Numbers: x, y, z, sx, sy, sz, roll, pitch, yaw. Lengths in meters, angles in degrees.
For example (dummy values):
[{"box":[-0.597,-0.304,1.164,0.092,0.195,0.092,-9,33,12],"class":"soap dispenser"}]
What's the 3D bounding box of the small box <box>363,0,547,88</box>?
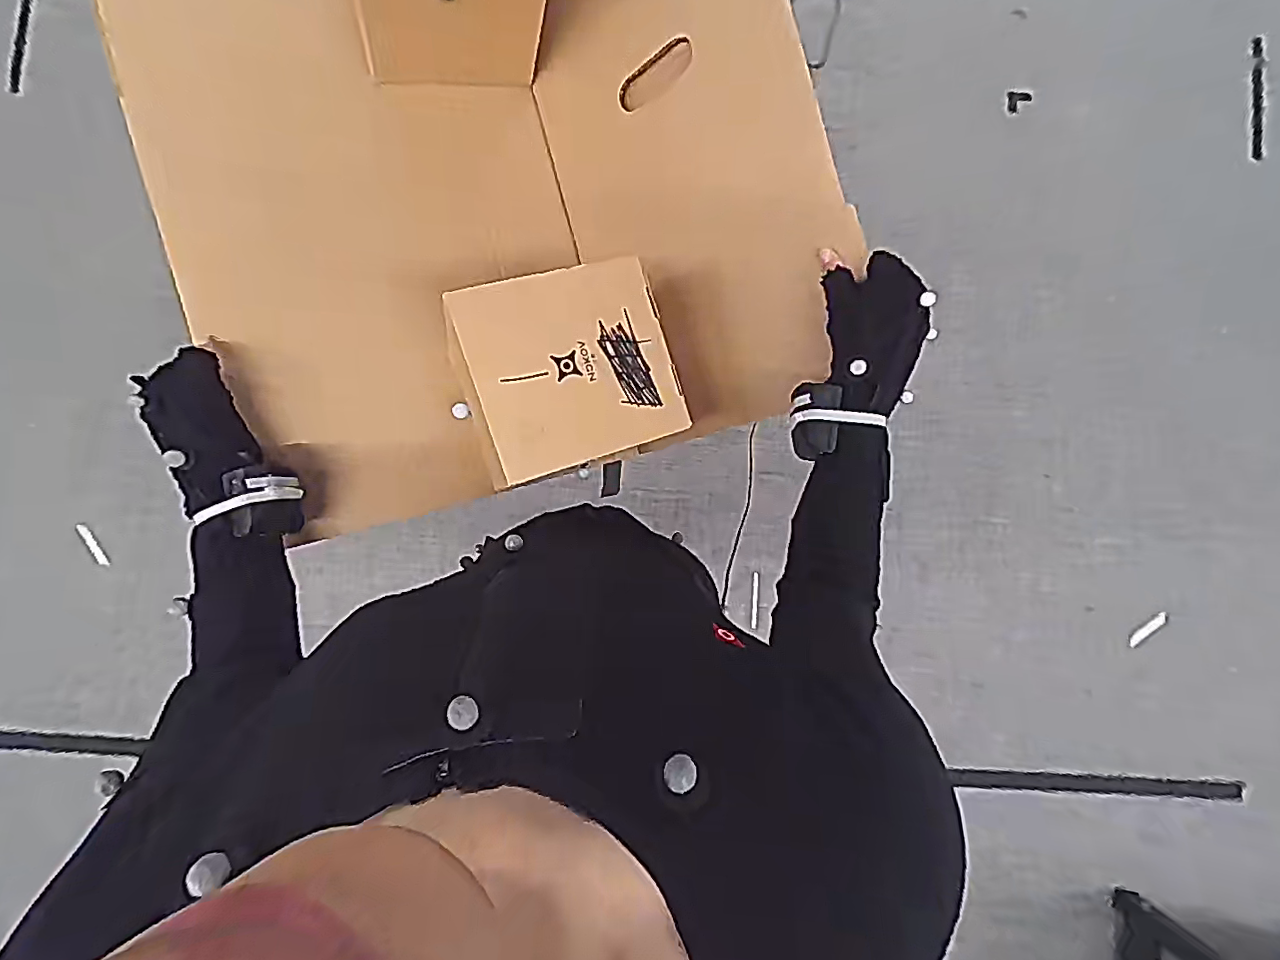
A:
[{"box":[-0.190,-0.526,0.532,0.179,0.176,0.168,-12,90,-19],"class":"small box"}]
